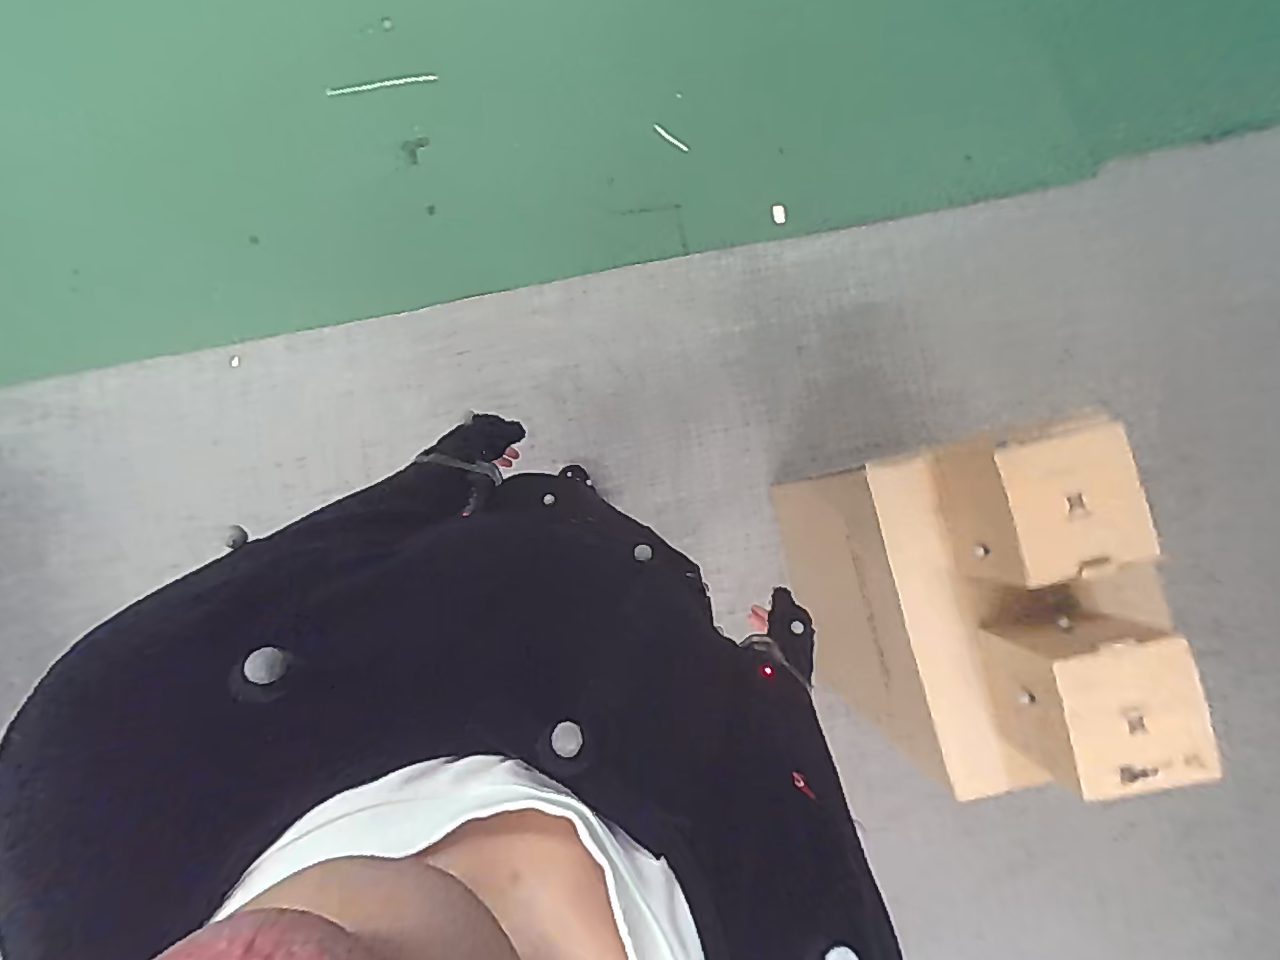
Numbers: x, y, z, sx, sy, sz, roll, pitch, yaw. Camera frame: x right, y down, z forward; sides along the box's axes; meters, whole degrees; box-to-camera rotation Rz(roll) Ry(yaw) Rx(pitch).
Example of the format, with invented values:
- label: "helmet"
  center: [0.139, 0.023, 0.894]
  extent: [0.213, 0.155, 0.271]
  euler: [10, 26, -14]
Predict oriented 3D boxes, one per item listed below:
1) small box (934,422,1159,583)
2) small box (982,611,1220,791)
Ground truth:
- label: "small box"
  center: [0.552, 0.032, 0.761]
  extent: [0.168, 0.176, 0.179]
  euler: [-14, 85, 1]
- label: "small box"
  center: [0.611, 0.287, 0.745]
  extent: [0.168, 0.176, 0.179]
  euler: [-12, 86, 3]
